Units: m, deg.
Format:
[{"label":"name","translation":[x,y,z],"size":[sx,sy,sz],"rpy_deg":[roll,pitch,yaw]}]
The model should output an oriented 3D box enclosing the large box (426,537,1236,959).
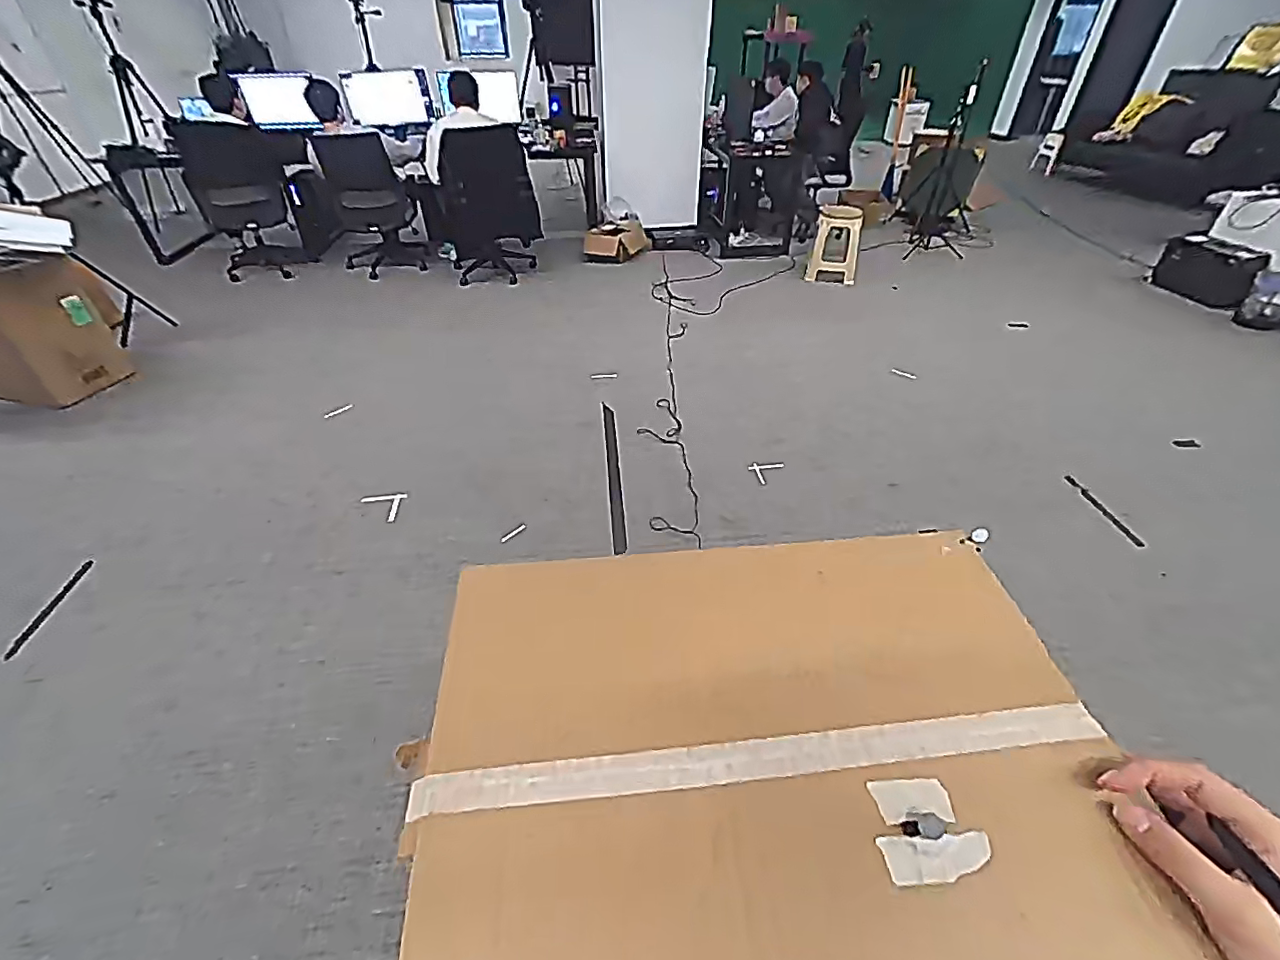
[{"label":"large box","translation":[0.078,0.272,0.434],"size":[0.408,0.320,0.320],"rpy_deg":[-3,46,-6]}]
